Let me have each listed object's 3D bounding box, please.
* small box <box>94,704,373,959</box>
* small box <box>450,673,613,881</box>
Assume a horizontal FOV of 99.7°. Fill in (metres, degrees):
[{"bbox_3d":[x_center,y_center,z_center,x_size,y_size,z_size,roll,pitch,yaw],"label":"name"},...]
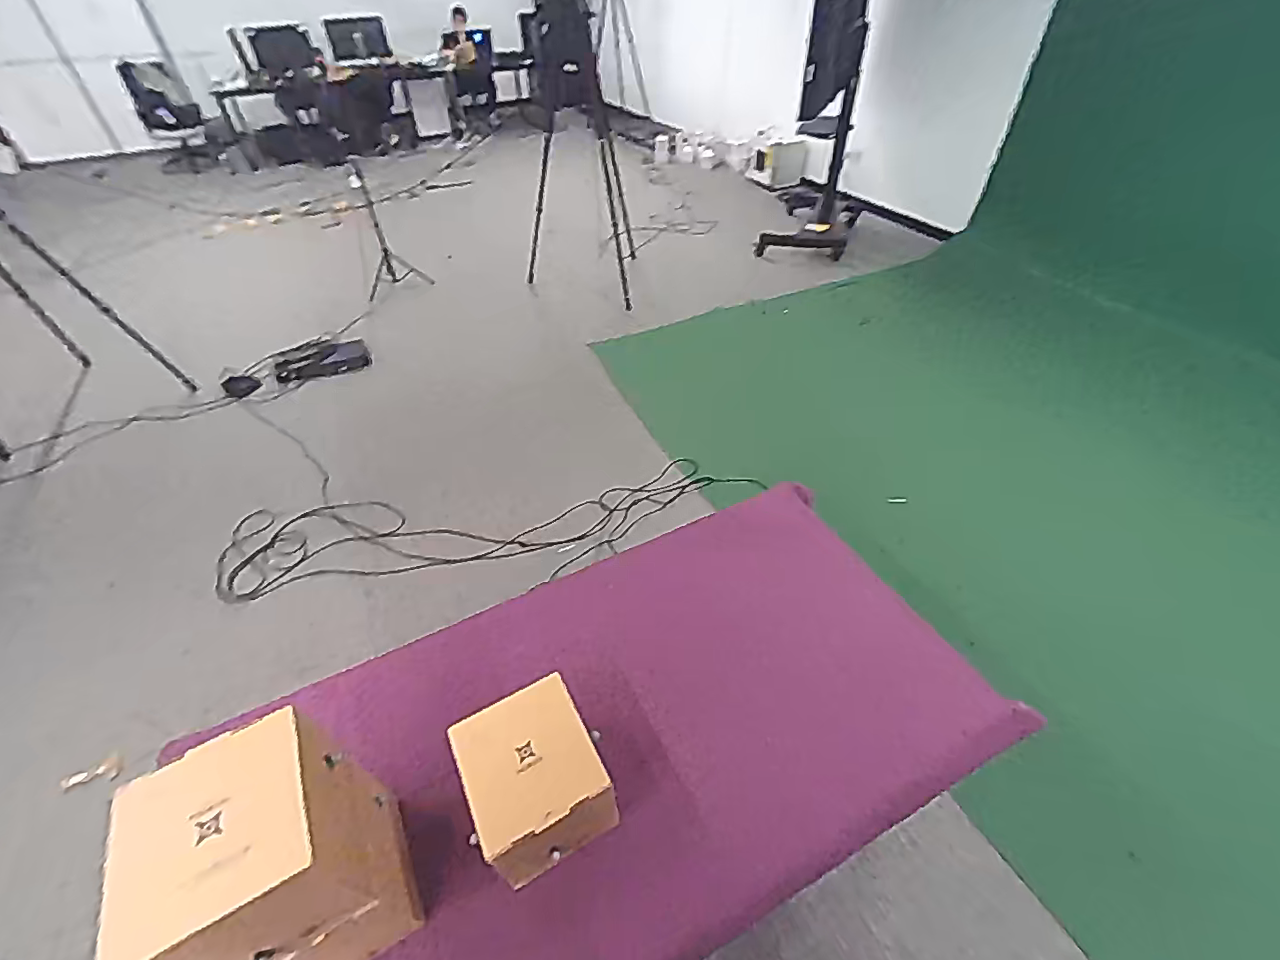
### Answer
[{"bbox_3d":[-0.404,0.380,0.565,0.168,0.176,0.179,-23,48,-21],"label":"small box"},{"bbox_3d":[-0.148,0.417,0.762,0.168,0.176,0.179,-22,48,-20],"label":"small box"}]
